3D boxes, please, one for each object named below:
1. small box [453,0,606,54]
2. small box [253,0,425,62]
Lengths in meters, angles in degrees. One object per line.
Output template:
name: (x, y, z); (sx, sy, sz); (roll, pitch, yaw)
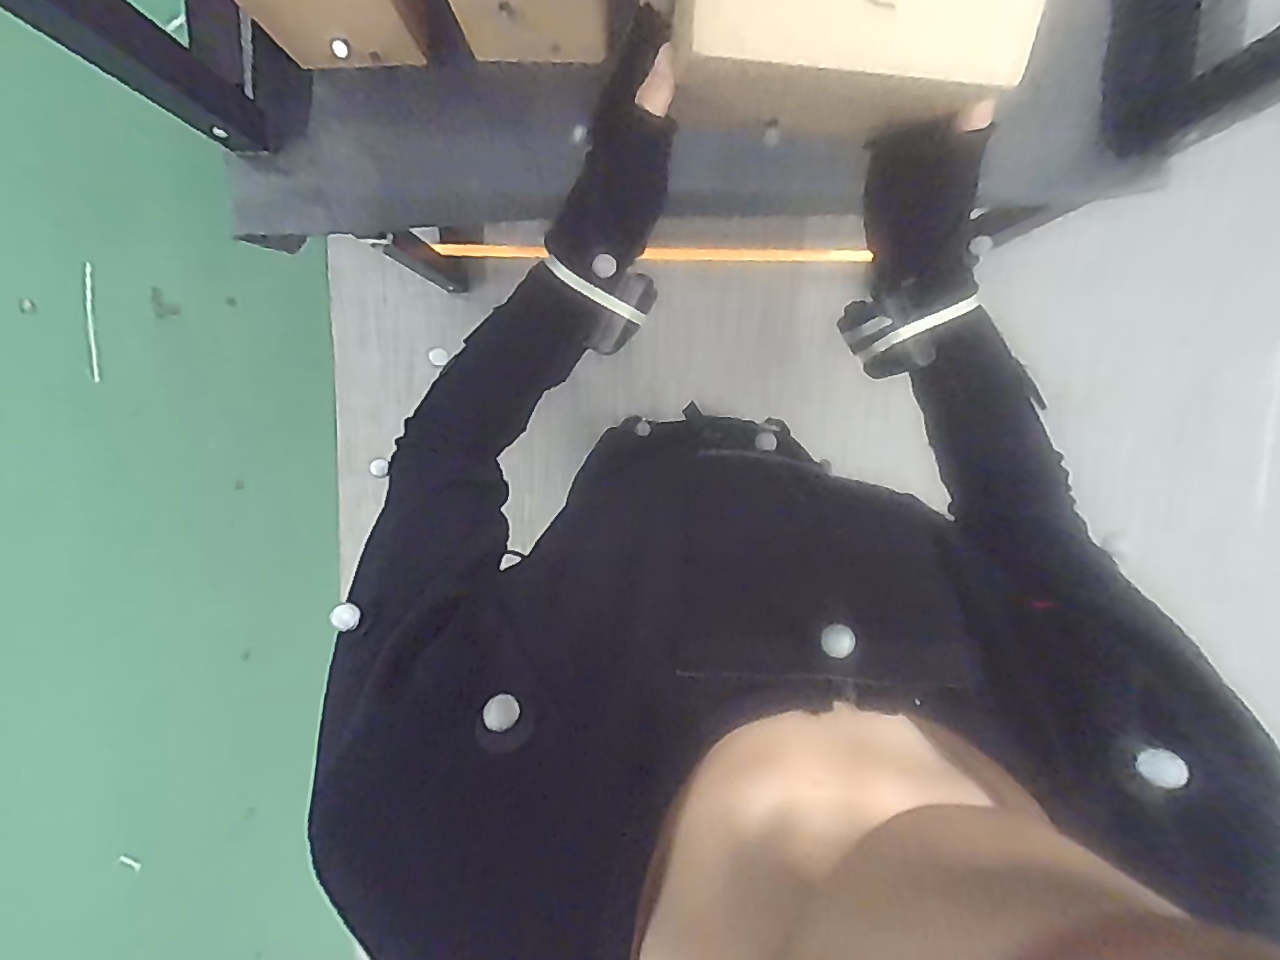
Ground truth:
small box: (-0.125, -0.609, 0.591); (0.168, 0.176, 0.179); (1, 96, 1)
small box: (-0.352, -0.607, 0.593); (0.168, 0.176, 0.179); (-1, 97, 1)
